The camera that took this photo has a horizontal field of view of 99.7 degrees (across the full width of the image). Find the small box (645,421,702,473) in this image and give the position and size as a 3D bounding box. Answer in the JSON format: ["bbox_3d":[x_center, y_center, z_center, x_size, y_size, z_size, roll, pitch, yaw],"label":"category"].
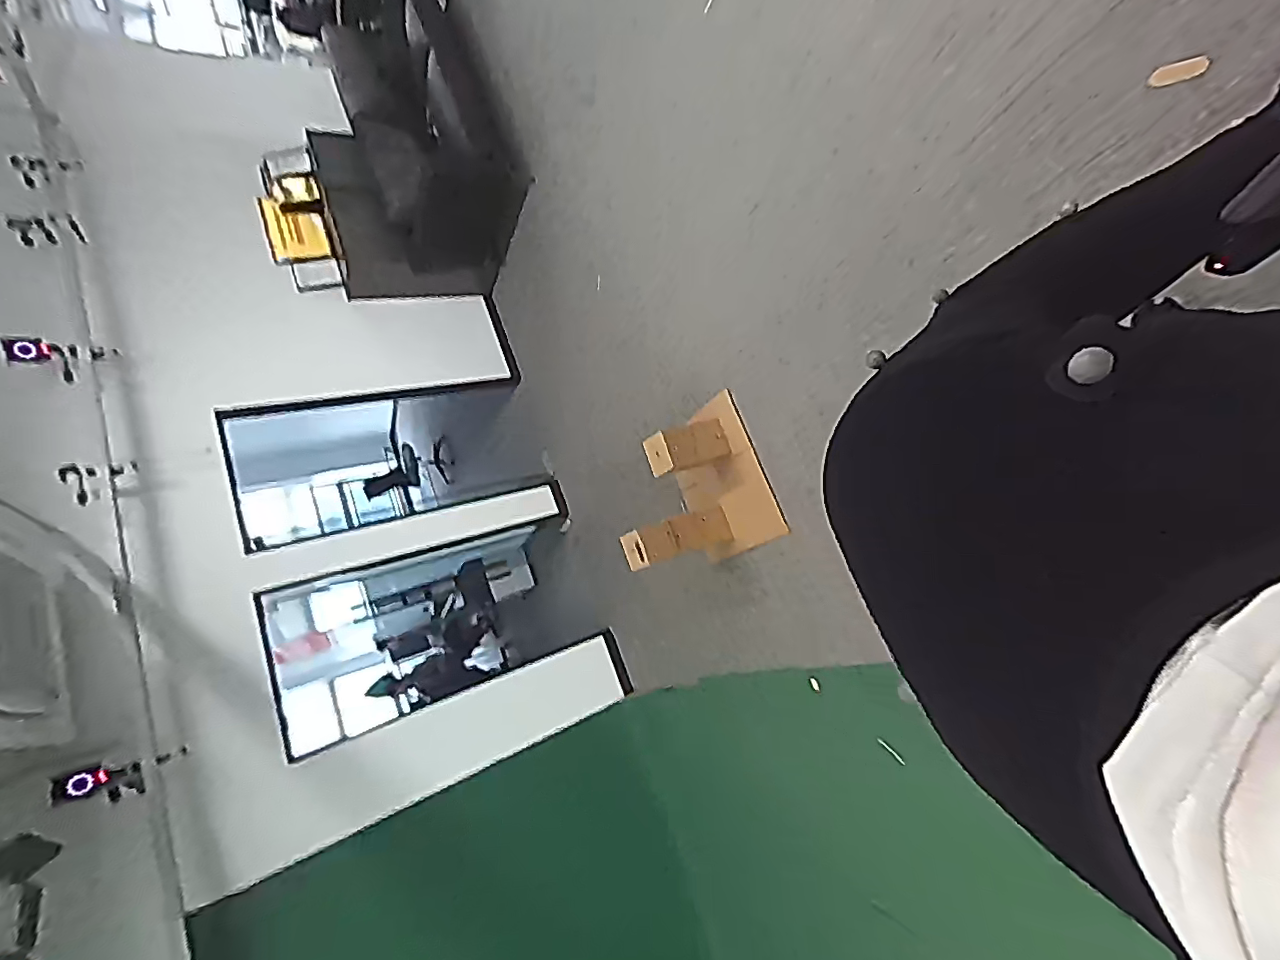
[{"bbox_3d":[0.153,-0.149,2.409,0.168,0.176,0.179,-29,78,57],"label":"small box"}]

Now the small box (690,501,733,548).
[{"bbox_3d":[0.317,0.210,2.606,0.168,0.176,0.179,-37,71,57],"label":"small box"}]

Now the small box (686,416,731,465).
[{"bbox_3d":[0.290,-0.187,2.492,0.168,0.176,0.179,-34,74,58],"label":"small box"}]

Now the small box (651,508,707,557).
[{"bbox_3d":[0.181,0.239,2.523,0.168,0.176,0.179,-36,72,56],"label":"small box"}]
